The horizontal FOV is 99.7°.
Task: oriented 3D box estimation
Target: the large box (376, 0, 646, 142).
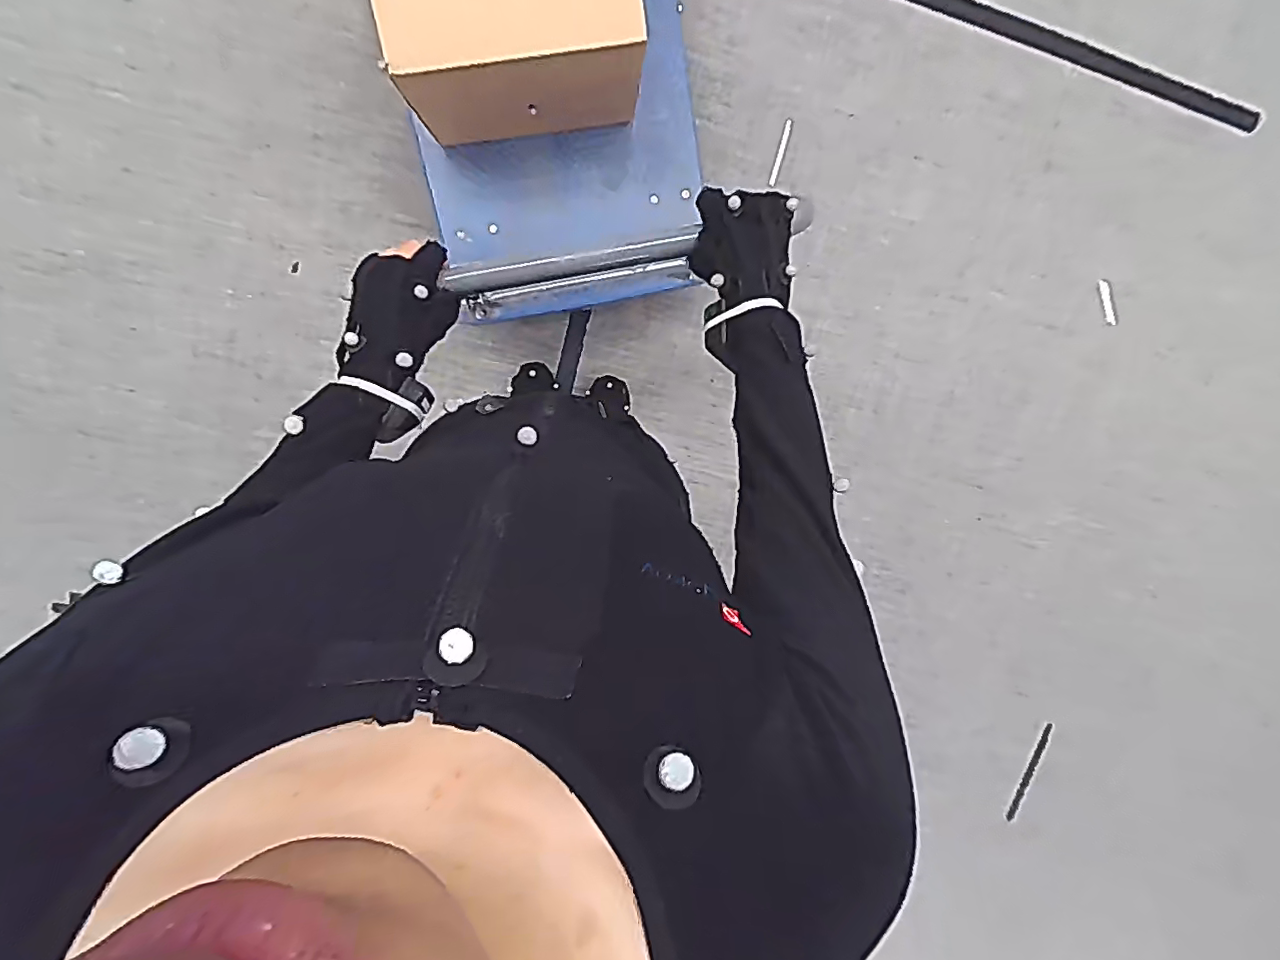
[{"bbox_3d":[-0.219,-0.839,0.949,0.408,0.320,0.320,-10,104,-2],"label":"large box"}]
